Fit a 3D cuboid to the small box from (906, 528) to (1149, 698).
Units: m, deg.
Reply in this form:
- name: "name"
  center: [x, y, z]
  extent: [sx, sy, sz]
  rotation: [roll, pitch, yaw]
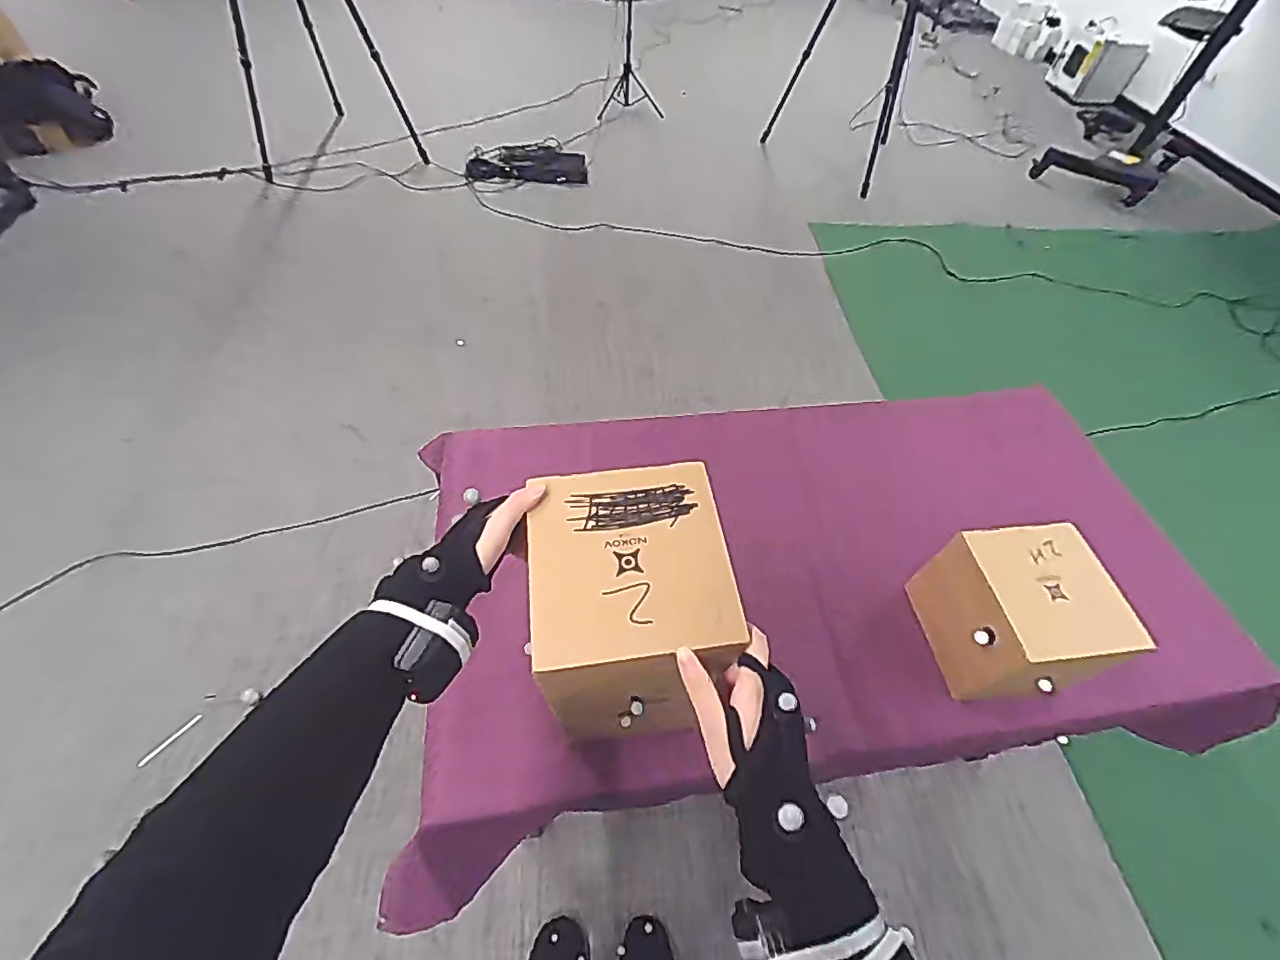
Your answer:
- name: "small box"
  center: [0.501, 0.186, 0.733]
  extent: [0.168, 0.176, 0.179]
  rotation: [-3, 54, -7]

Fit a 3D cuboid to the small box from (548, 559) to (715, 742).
- name: "small box"
  center: [-0.019, 0.216, 0.674]
  extent: [0.179, 0.176, 0.168]
  rotation: [-3, 54, -8]
